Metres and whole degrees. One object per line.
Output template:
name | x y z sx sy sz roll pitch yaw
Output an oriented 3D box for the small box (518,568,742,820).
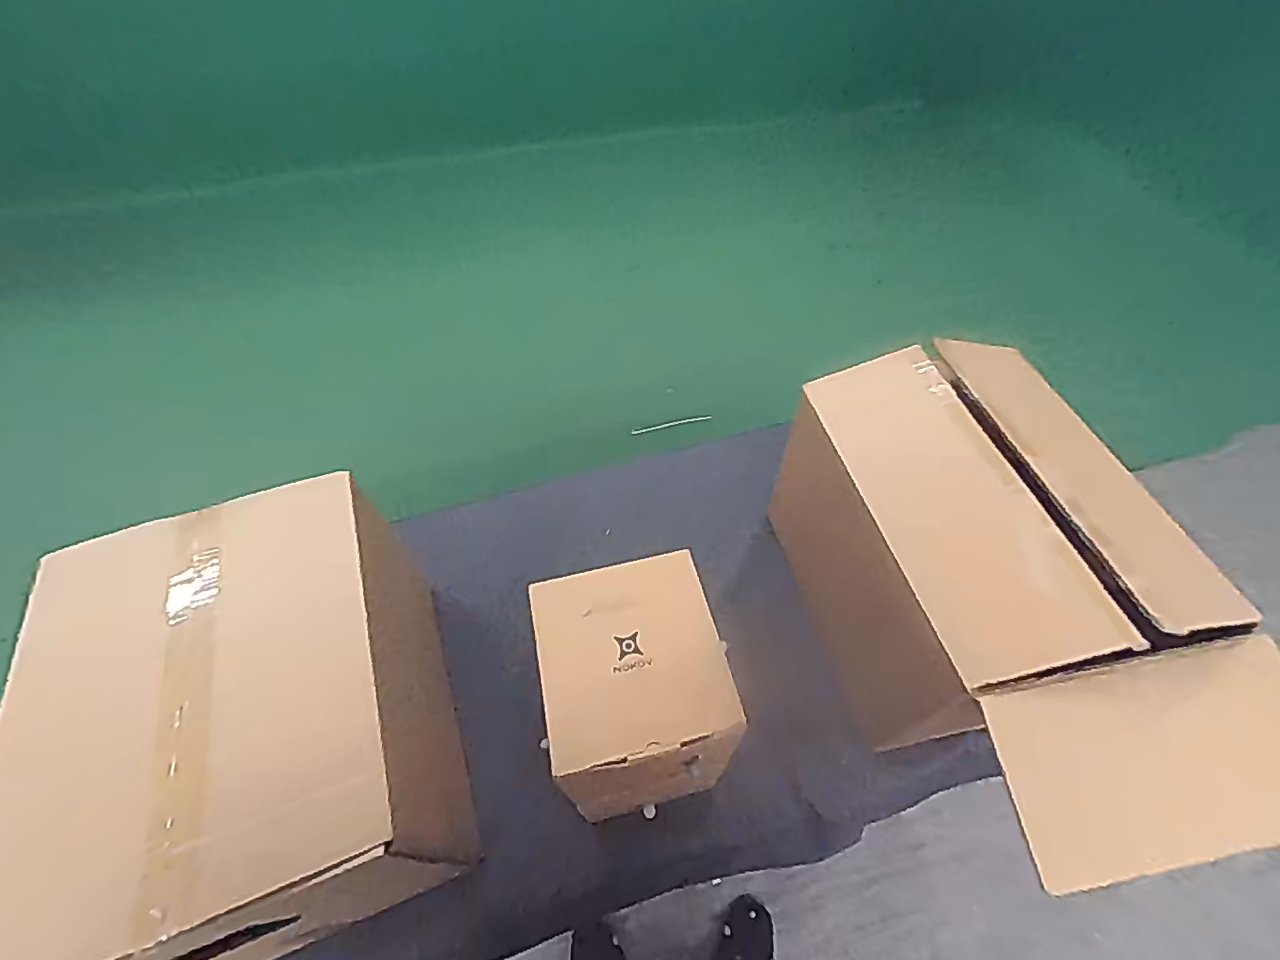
small box | -0.015 0.215 0.530 0.168 0.176 0.179 -12 54 -9
